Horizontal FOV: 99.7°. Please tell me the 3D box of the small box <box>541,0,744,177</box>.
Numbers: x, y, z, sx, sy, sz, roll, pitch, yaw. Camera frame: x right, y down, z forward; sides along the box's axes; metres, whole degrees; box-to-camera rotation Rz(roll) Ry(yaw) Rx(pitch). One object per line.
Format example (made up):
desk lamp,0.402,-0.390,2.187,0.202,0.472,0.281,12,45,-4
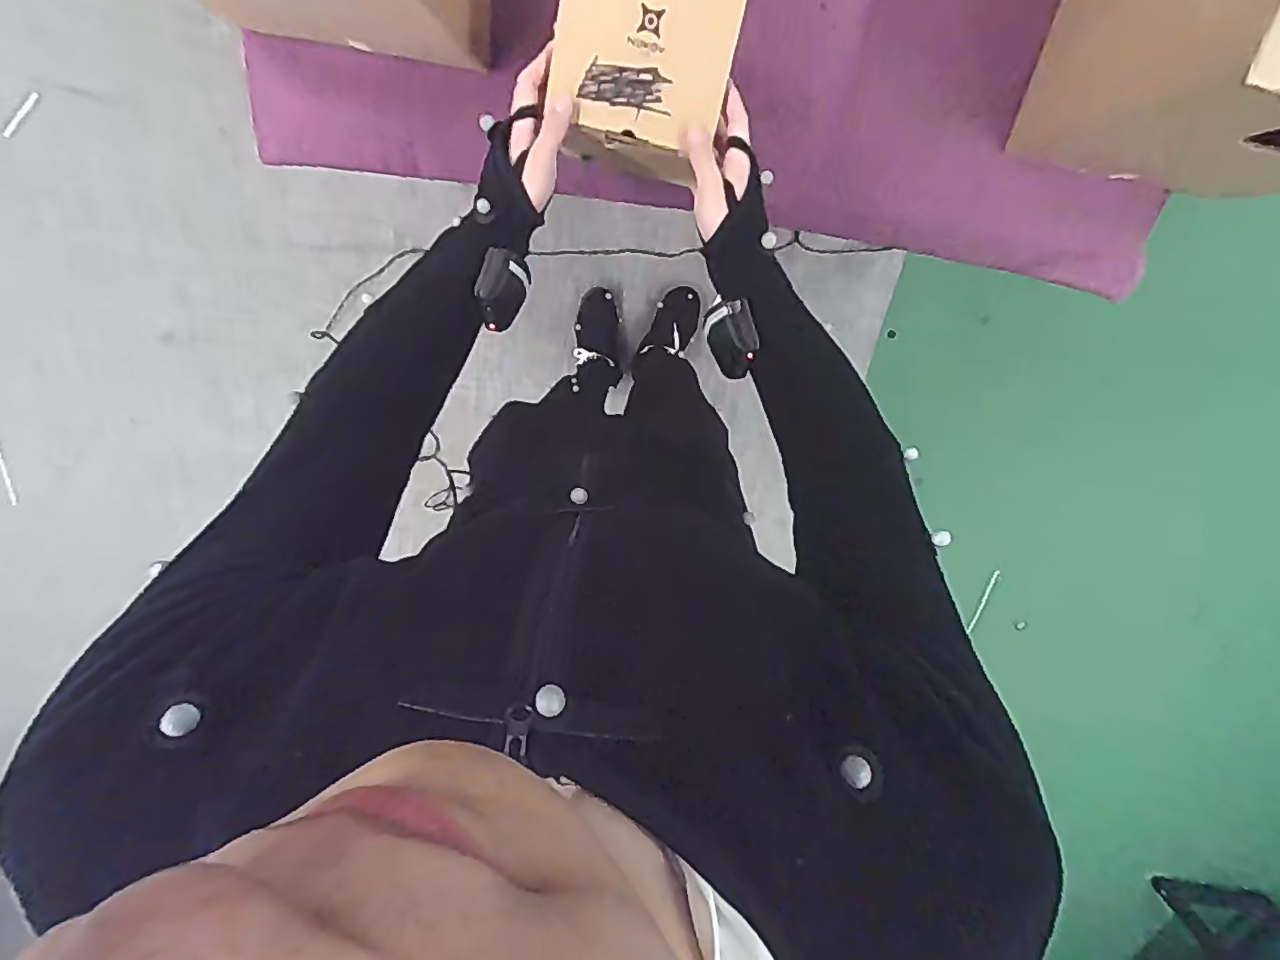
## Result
small box,0.004,-0.437,0.562,0.168,0.176,0.179,12,110,-5
